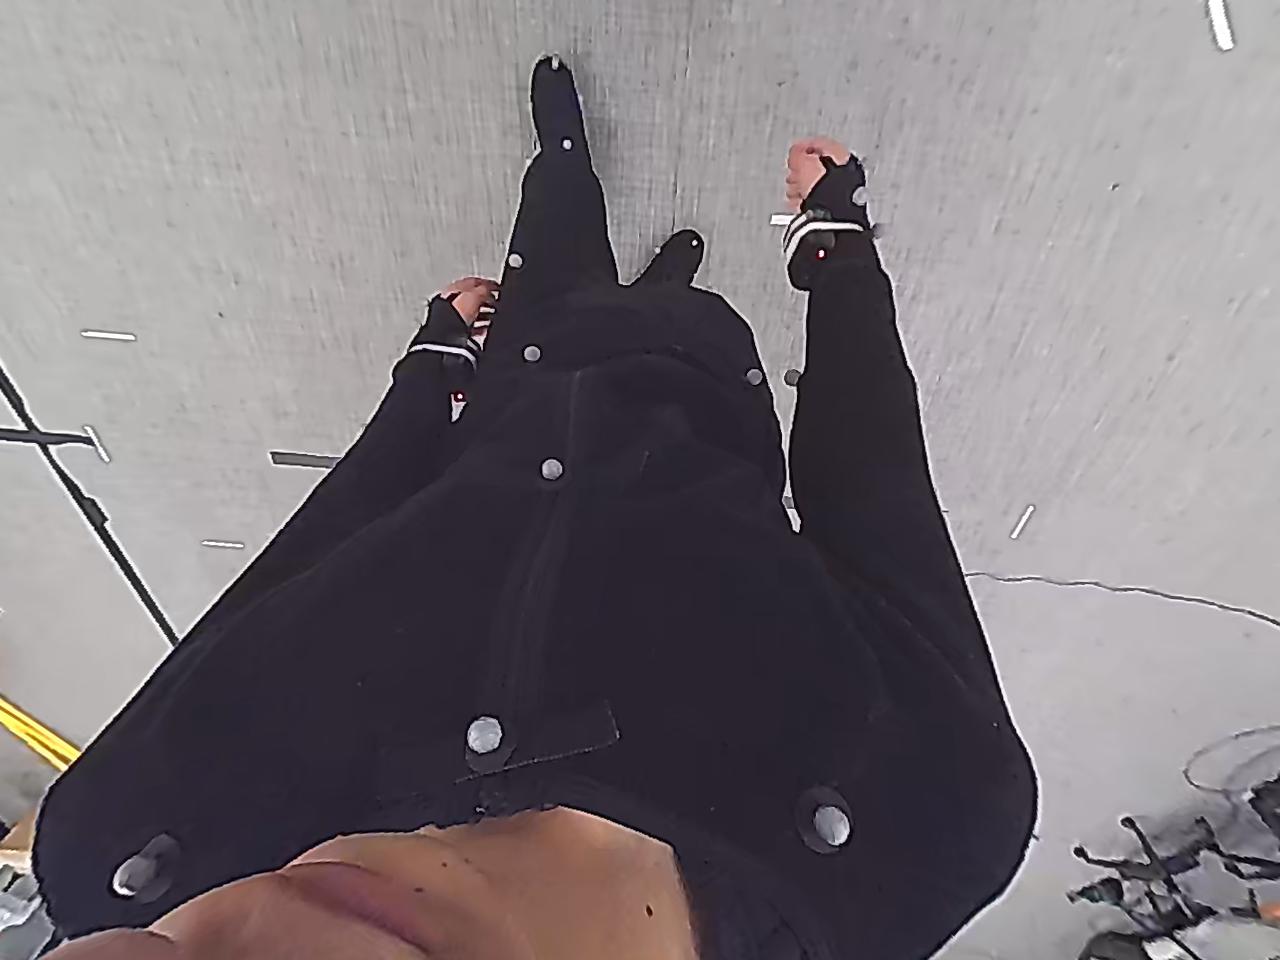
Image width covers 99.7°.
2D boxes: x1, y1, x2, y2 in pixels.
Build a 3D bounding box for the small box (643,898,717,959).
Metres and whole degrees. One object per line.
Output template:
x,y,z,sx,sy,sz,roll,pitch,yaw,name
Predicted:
0.109,1.287,1.492,0.179,0.176,0.168,10,123,-4,small box
